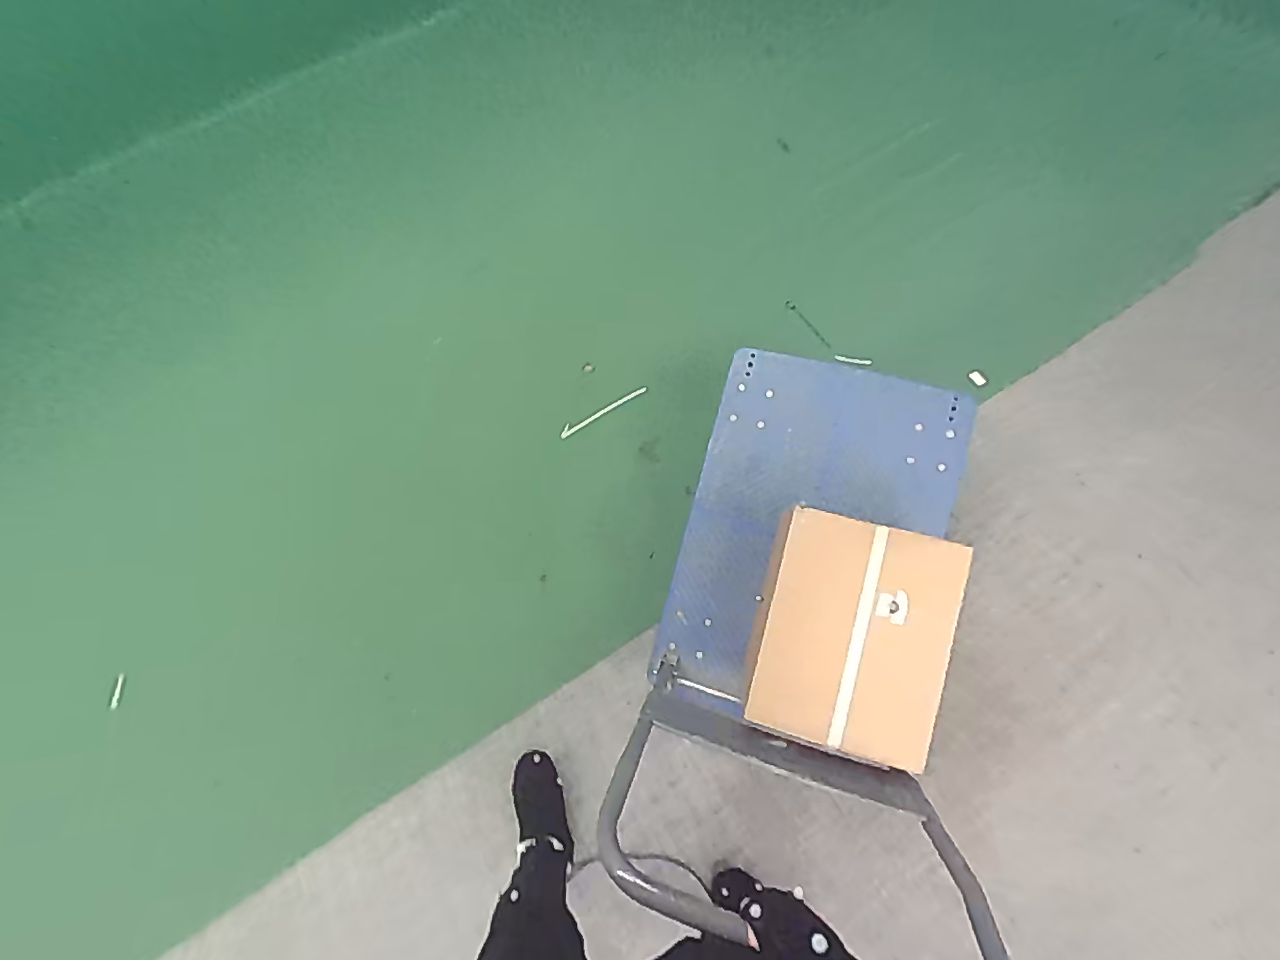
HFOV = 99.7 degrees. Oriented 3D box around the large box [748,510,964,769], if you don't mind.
[{"bbox_3d":[0.414,0.298,1.120,0.320,0.320,0.408,13,86,10],"label":"large box"}]
